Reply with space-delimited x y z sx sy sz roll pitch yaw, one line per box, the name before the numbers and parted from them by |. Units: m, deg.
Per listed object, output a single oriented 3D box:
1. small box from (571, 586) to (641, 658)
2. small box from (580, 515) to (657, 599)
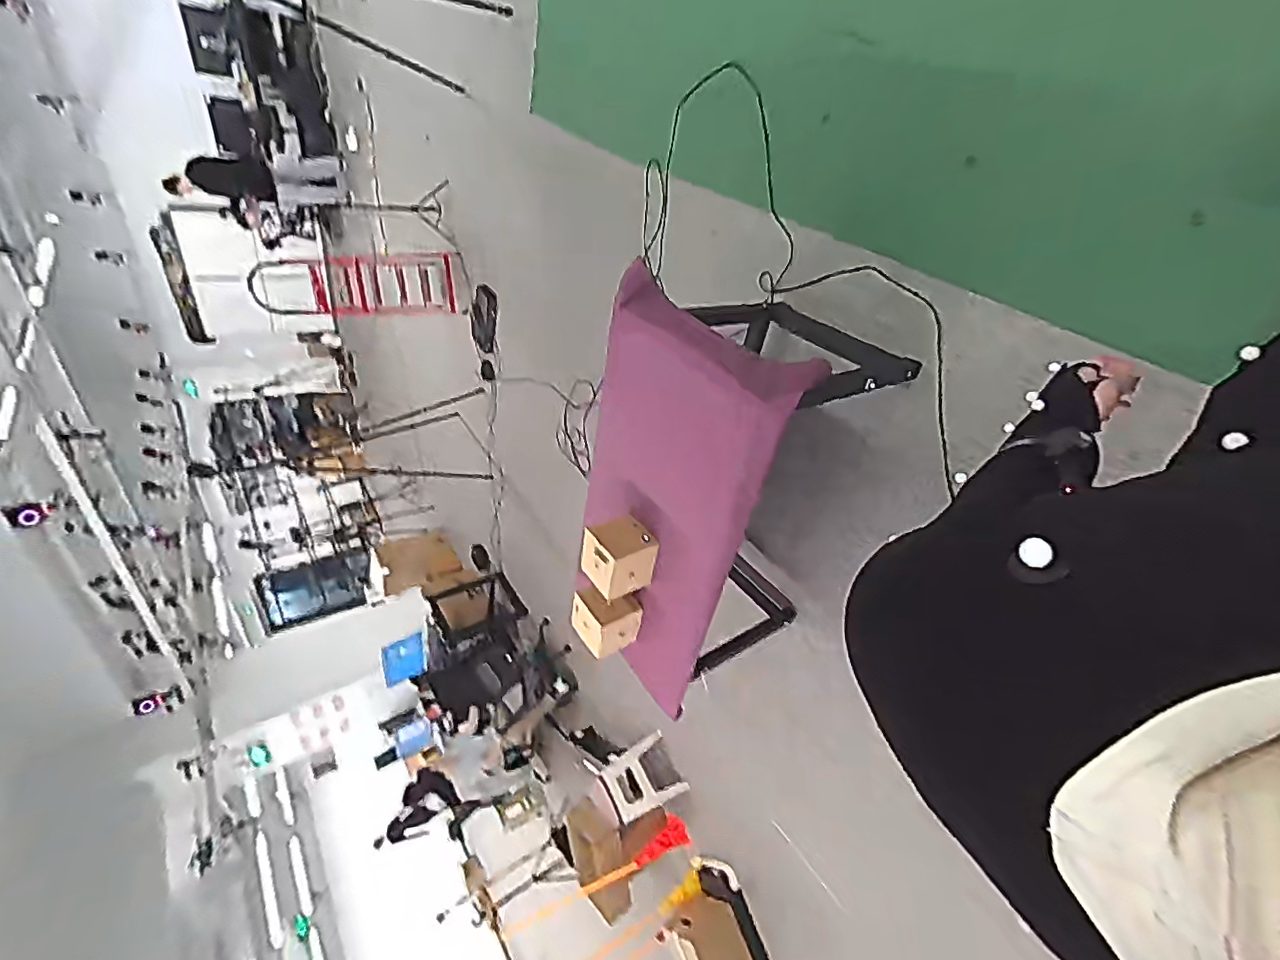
small box | -0.118 0.468 1.863 0.179 0.176 0.168 42 134 37
small box | -0.067 0.234 1.696 0.168 0.176 0.179 43 136 38
